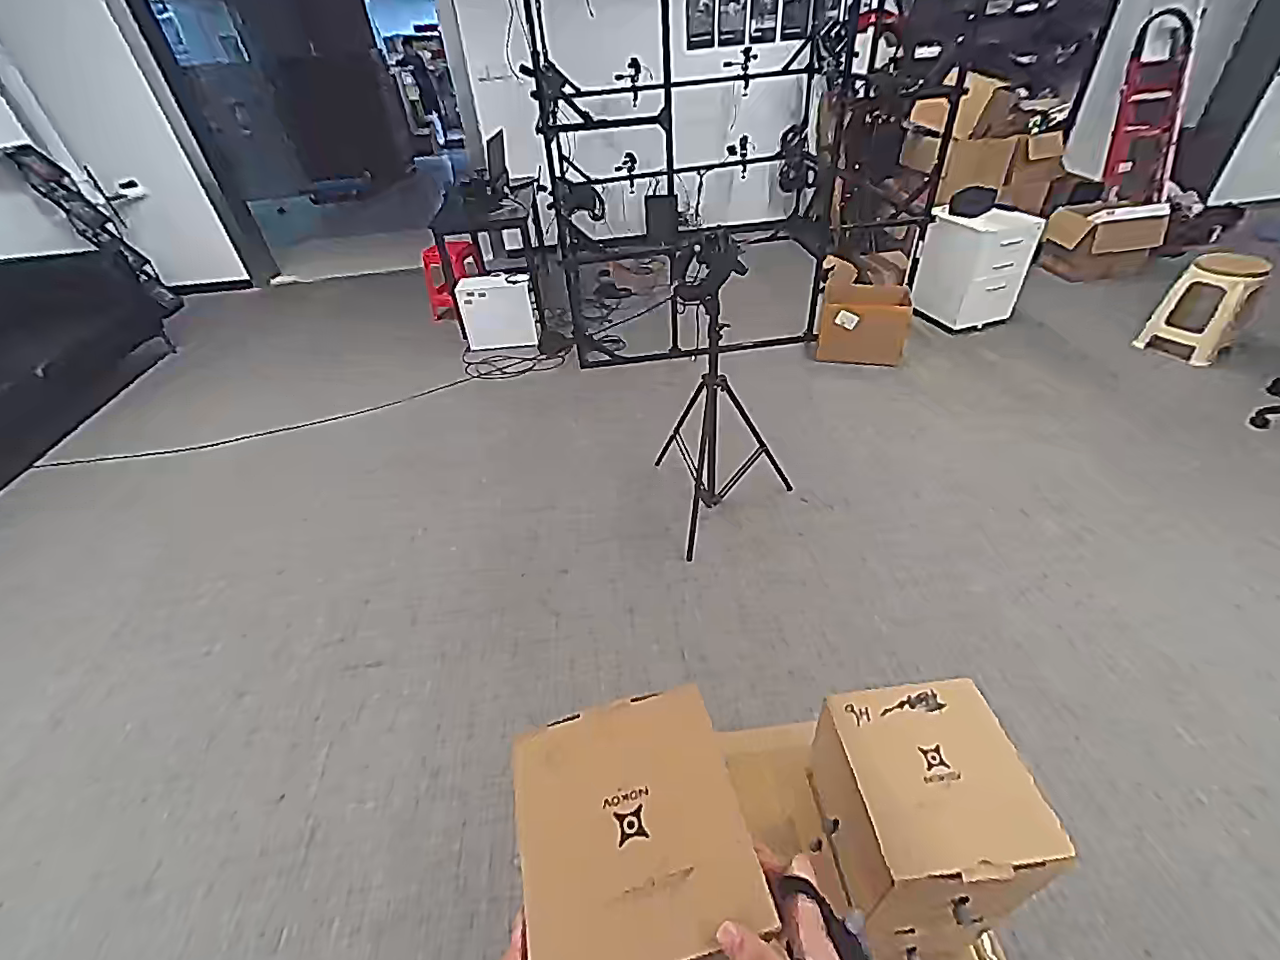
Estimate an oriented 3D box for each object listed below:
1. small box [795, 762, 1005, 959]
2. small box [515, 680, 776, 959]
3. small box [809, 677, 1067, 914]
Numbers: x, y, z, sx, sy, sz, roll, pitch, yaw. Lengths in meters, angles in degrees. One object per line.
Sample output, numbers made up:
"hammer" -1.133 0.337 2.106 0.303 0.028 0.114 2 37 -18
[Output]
"small box" 0.306 0.472 0.685 0.168 0.176 0.179 -8 40 -1
"small box" -0.003 0.306 0.460 0.168 0.176 0.179 -13 45 -7
"small box" 0.295 0.343 0.585 0.168 0.176 0.179 -7 40 0
